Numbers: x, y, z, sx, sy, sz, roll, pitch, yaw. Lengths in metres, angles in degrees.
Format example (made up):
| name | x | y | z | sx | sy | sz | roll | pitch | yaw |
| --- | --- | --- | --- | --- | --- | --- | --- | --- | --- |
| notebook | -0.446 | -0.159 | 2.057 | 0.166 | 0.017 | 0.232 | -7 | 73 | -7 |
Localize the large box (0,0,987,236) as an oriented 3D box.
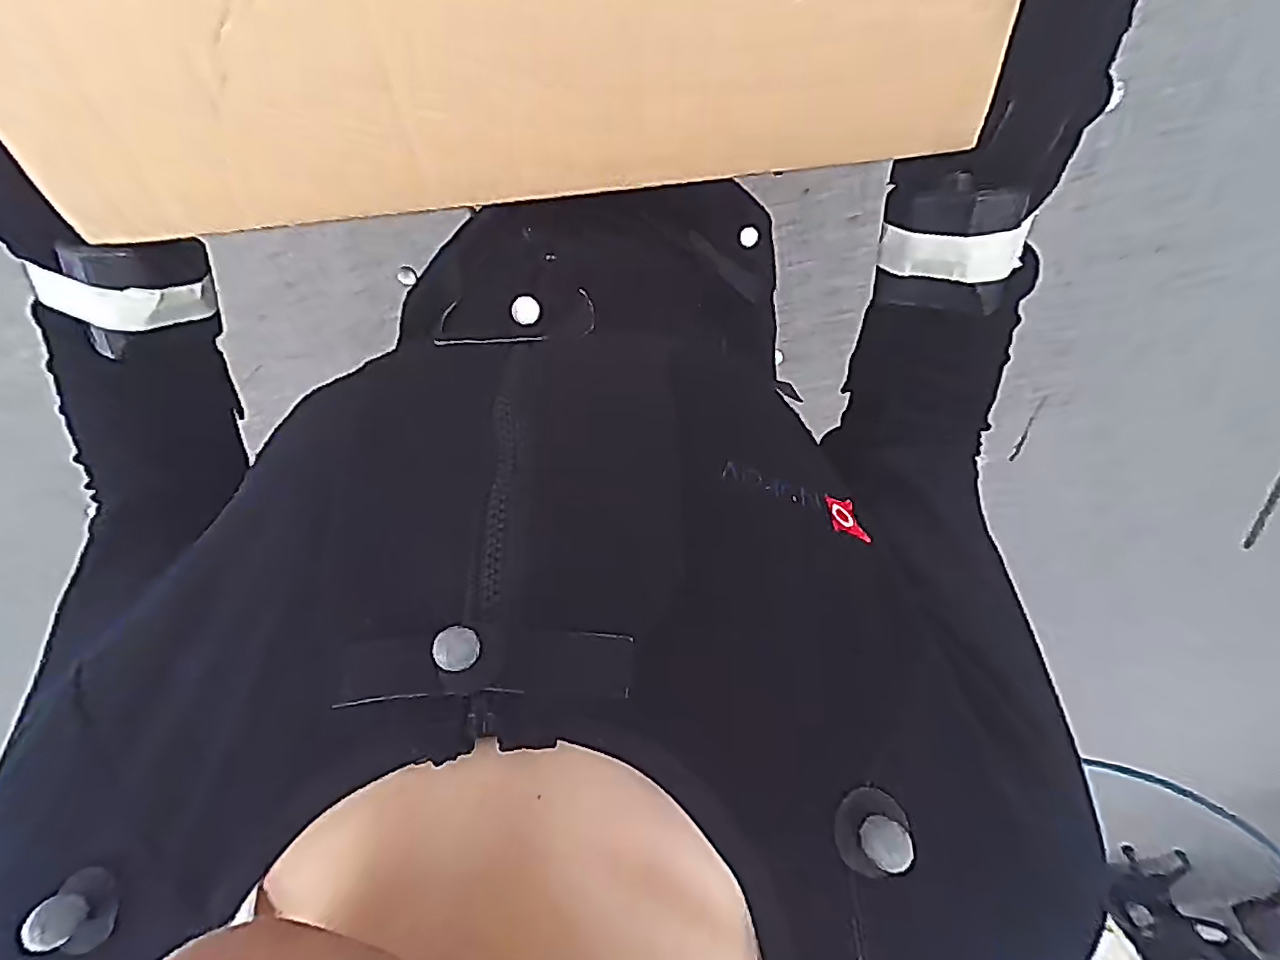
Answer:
| name | x | y | z | sx | sy | sz | roll | pitch | yaw |
| --- | --- | --- | --- | --- | --- | --- | --- | --- | --- |
| large box | -0.075 | -0.350 | 0.250 | 0.408 | 0.320 | 0.320 | -5 | 134 | 3 |
